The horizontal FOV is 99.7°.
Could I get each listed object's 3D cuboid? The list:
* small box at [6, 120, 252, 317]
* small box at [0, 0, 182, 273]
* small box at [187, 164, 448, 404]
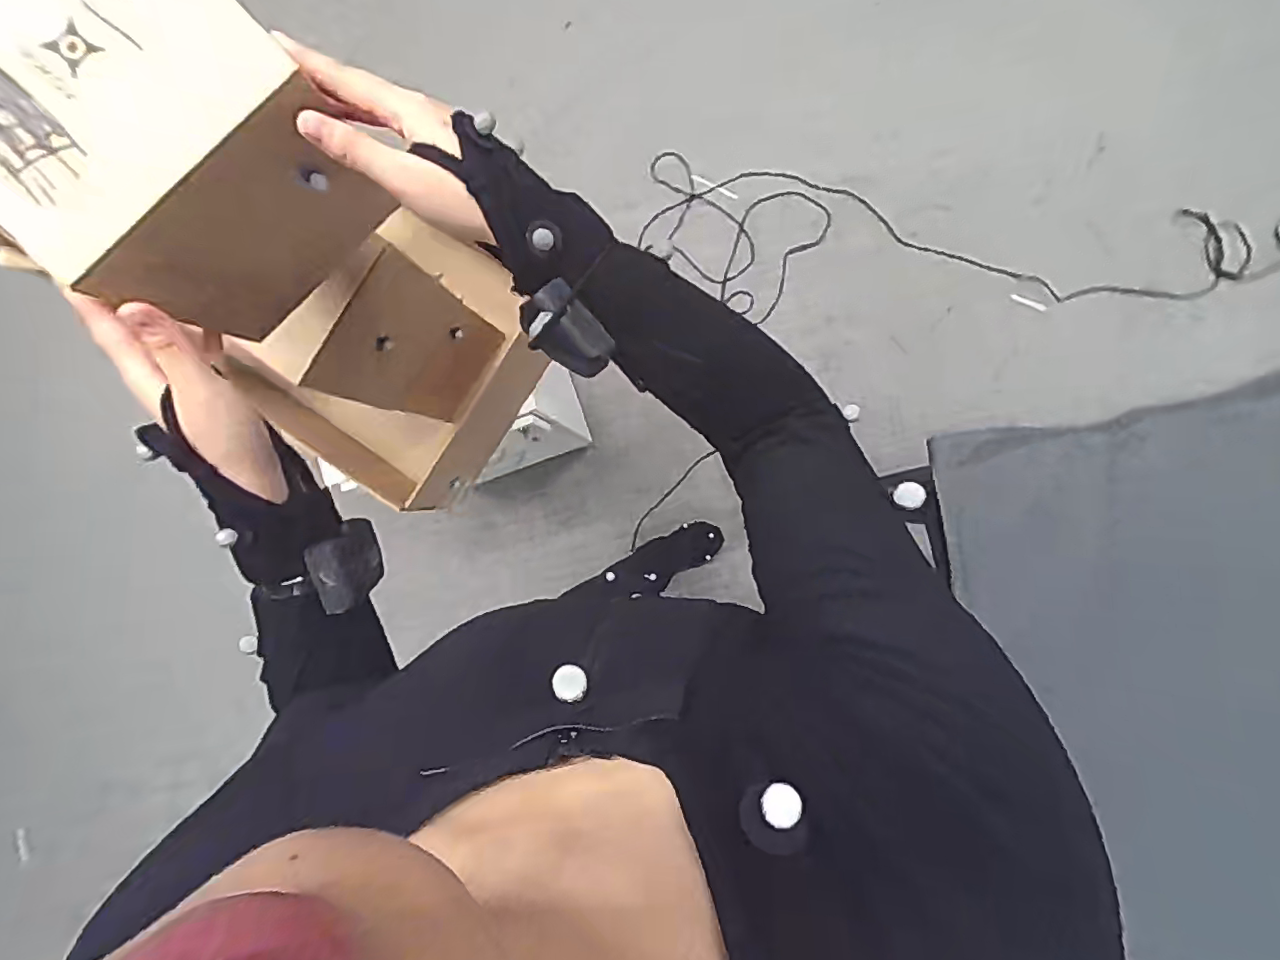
[{"bbox_3d":[-0.595,-0.311,0.665,0.168,0.176,0.179,8,92,5],"label":"small box"},{"bbox_3d":[-0.587,-0.332,0.499,0.168,0.176,0.179,38,93,5],"label":"small box"},{"bbox_3d":[-0.356,-0.213,0.637,0.168,0.176,0.179,34,93,7],"label":"small box"}]
